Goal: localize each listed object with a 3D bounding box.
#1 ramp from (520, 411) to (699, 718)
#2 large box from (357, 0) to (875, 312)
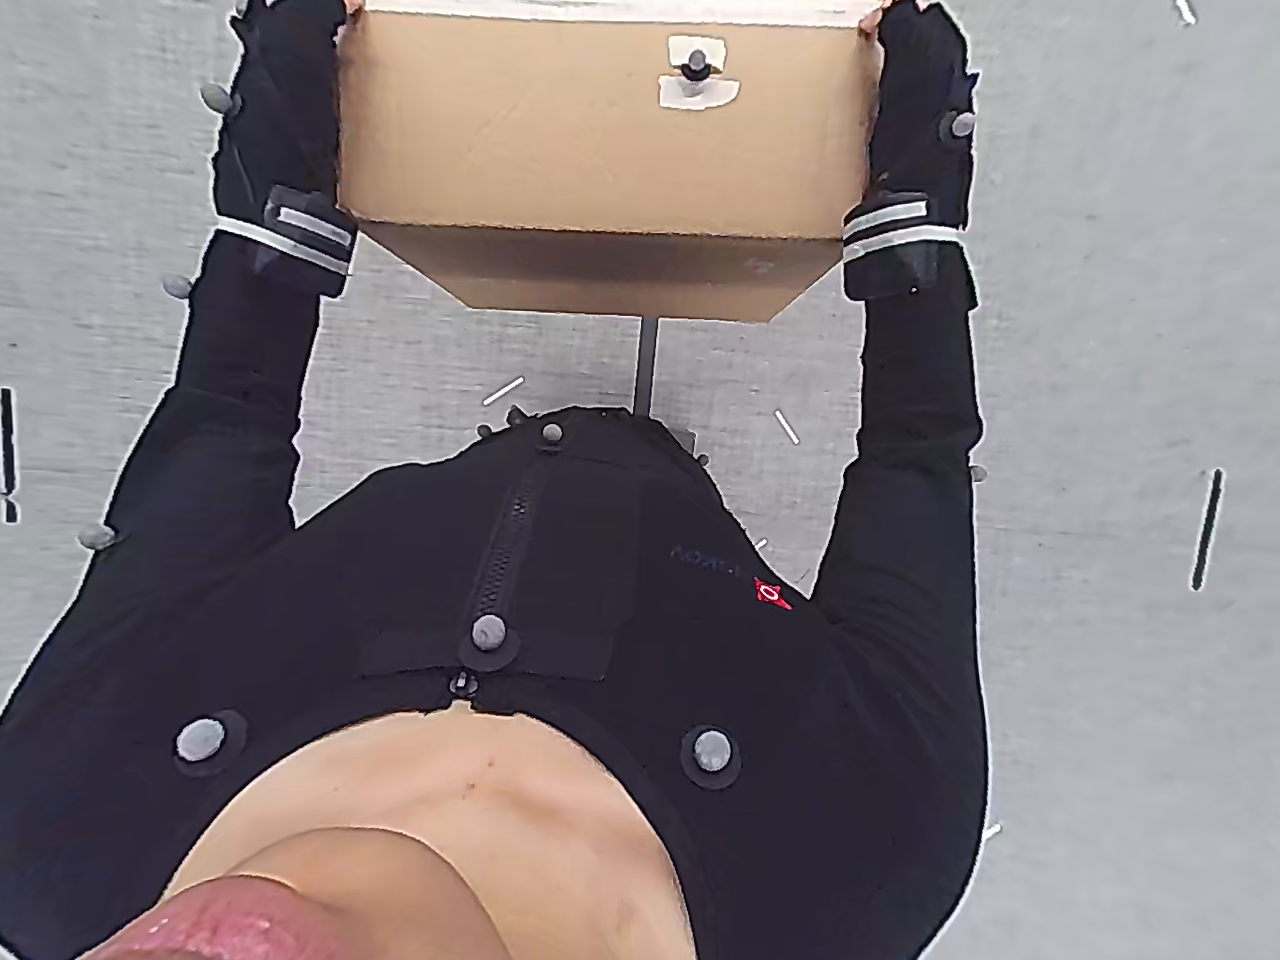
[{"bbox_3d":[-0.112,0.297,1.616,0.509,0.206,0.991,2,99,-2],"label":"ramp"},{"bbox_3d":[-0.020,-0.367,0.562,0.408,0.320,0.320,2,96,0],"label":"large box"}]
